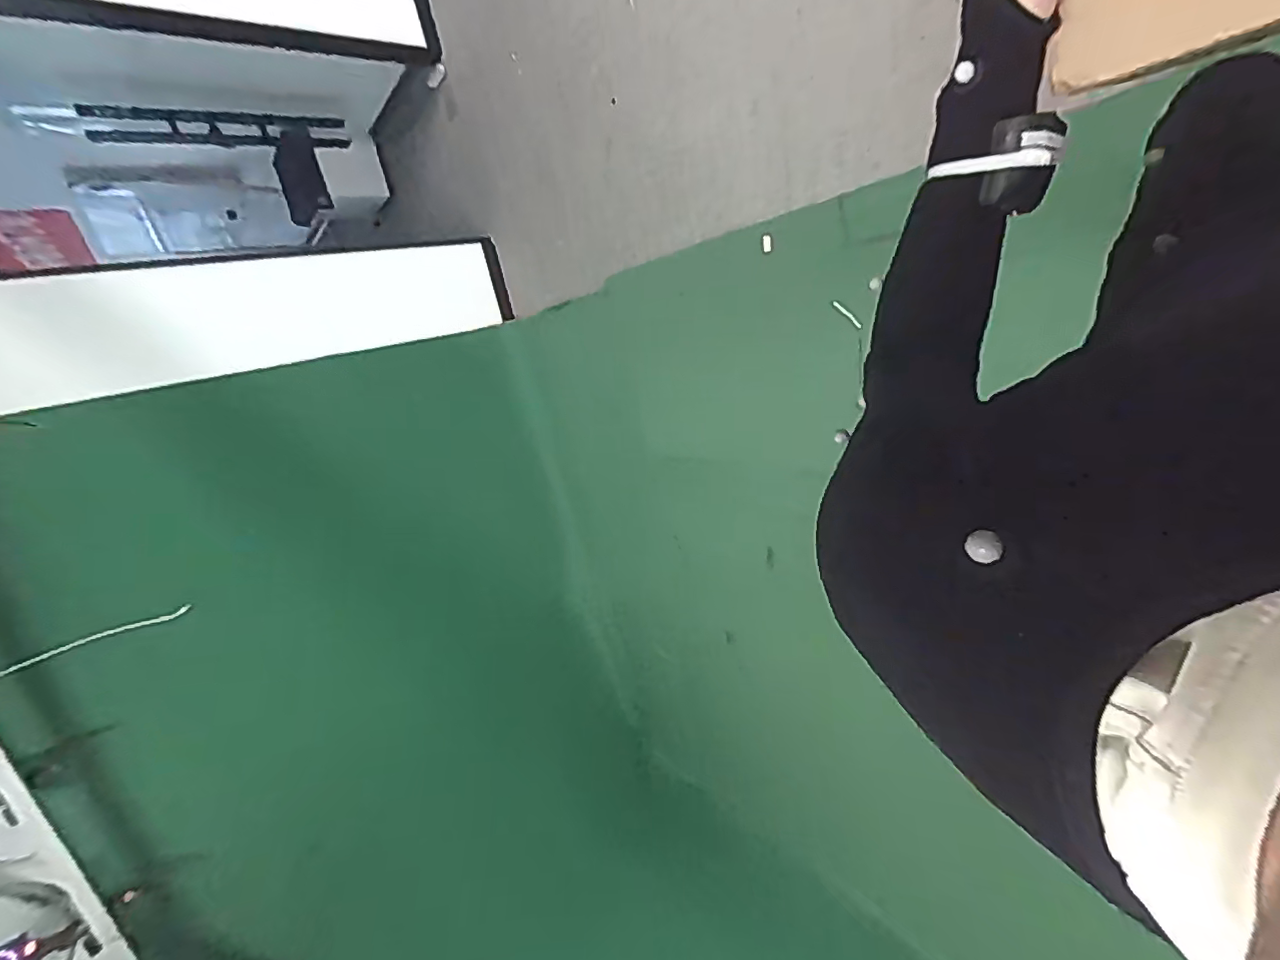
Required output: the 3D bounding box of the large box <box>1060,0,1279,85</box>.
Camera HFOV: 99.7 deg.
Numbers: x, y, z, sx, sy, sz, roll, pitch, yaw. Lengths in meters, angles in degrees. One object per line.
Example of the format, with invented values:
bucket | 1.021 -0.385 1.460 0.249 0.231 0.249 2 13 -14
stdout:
large box | 0.514 -0.487 0.303 0.408 0.320 0.320 7 122 48
